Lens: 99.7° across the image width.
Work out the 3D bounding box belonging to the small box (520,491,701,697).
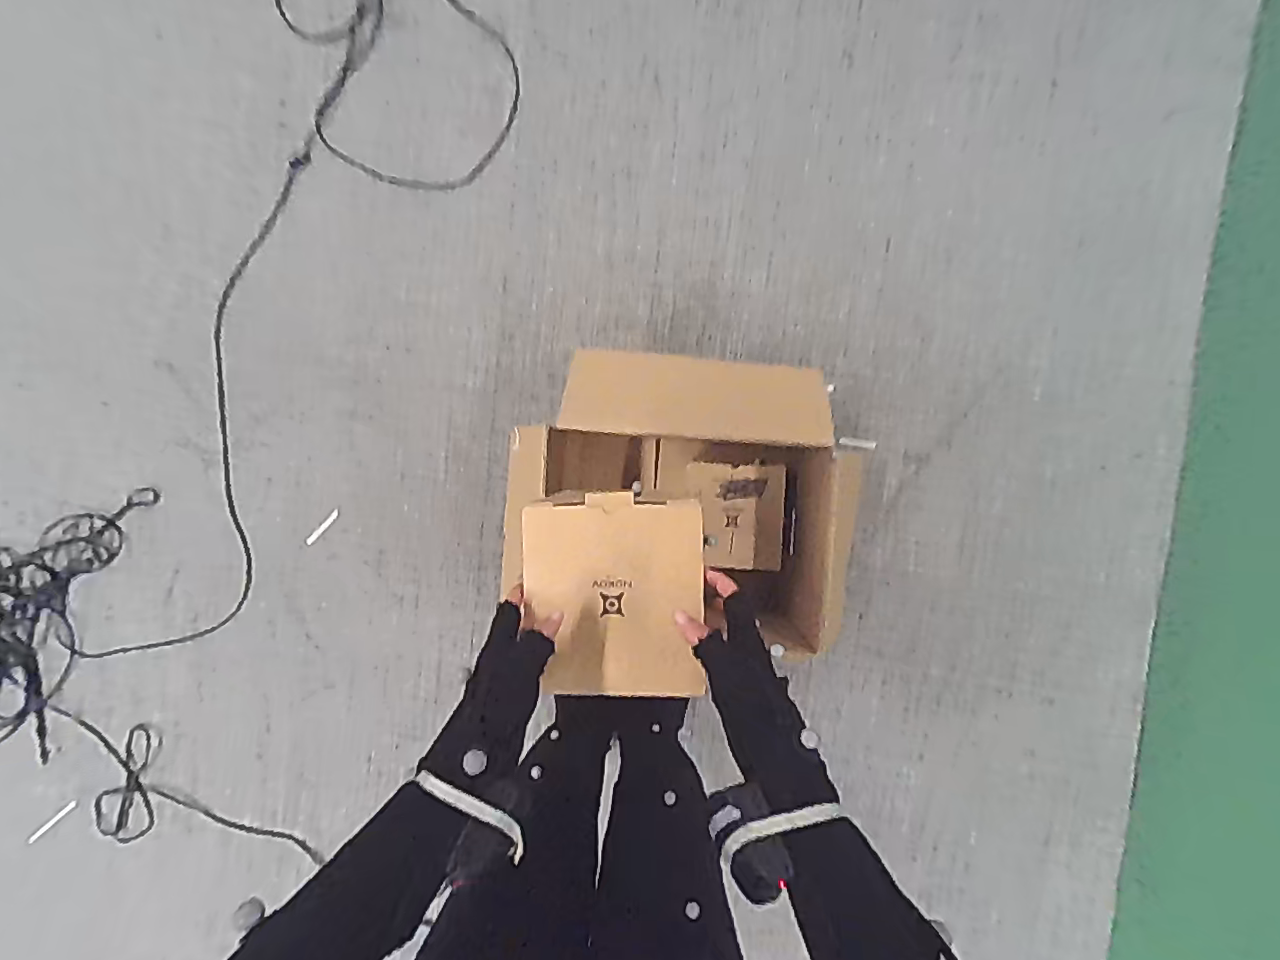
[{"bbox_3d":[-0.019,0.106,0.568,0.168,0.176,0.179,-2,92,5],"label":"small box"}]
